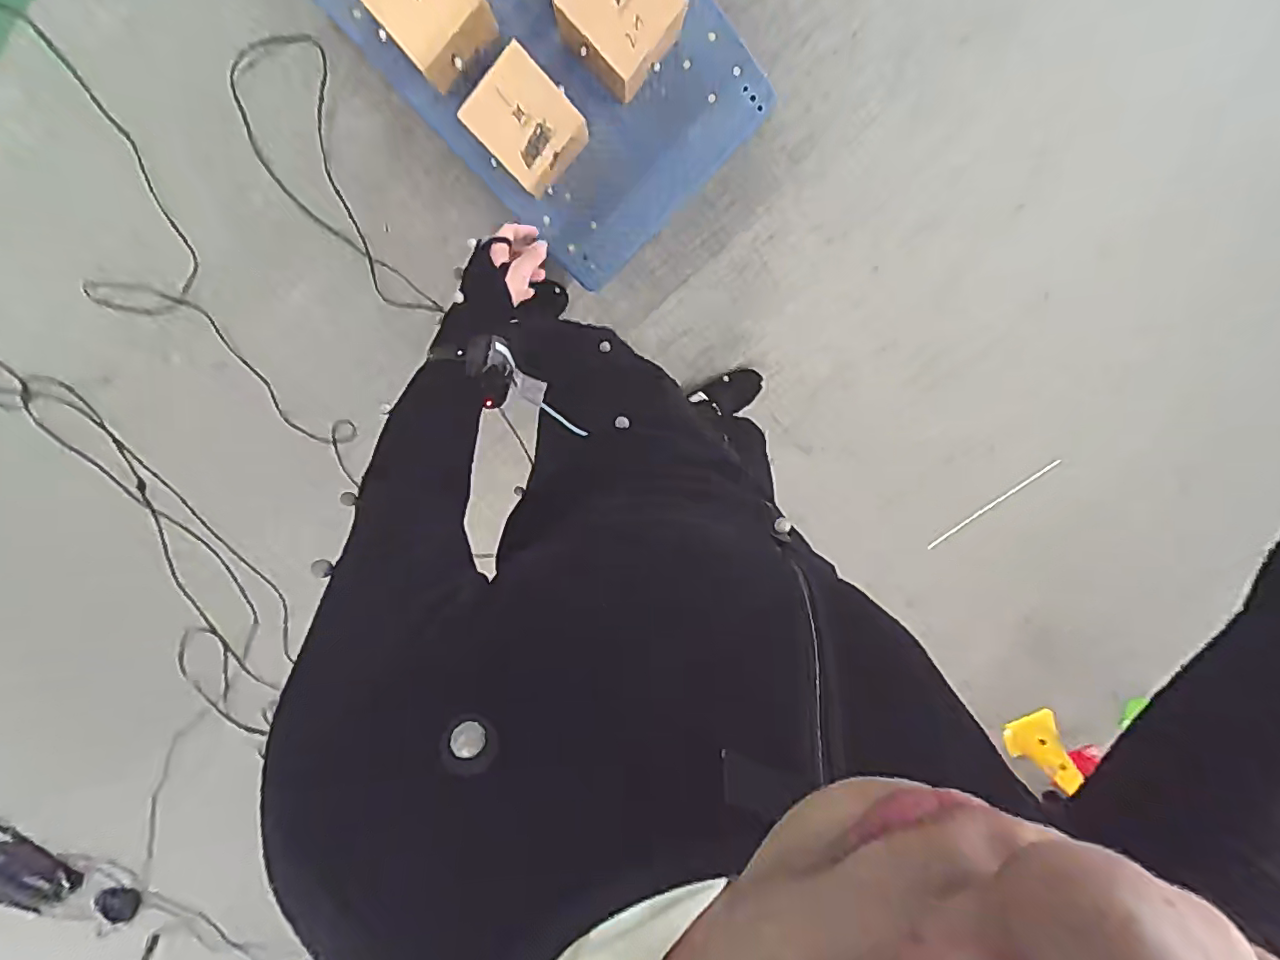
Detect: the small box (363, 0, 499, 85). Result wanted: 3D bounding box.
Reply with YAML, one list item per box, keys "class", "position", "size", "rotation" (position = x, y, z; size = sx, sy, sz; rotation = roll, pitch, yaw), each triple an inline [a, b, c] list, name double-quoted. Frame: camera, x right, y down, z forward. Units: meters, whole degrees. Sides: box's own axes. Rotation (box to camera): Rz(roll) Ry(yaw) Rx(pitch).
- class: "small box"
  position: [-0.383, -0.864, 0.983]
  size: [0.168, 0.176, 0.179]
  rotation: [-40, 108, 12]

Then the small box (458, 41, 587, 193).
- class: "small box"
  position: [-0.219, -0.693, 1.061]
  size: [0.168, 0.176, 0.179]
  rotation: [-43, 108, 13]

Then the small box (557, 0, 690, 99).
- class: "small box"
  position: [-0.034, -0.858, 1.003]
  size: [0.179, 0.176, 0.168]
  rotation: [40, 106, -17]
